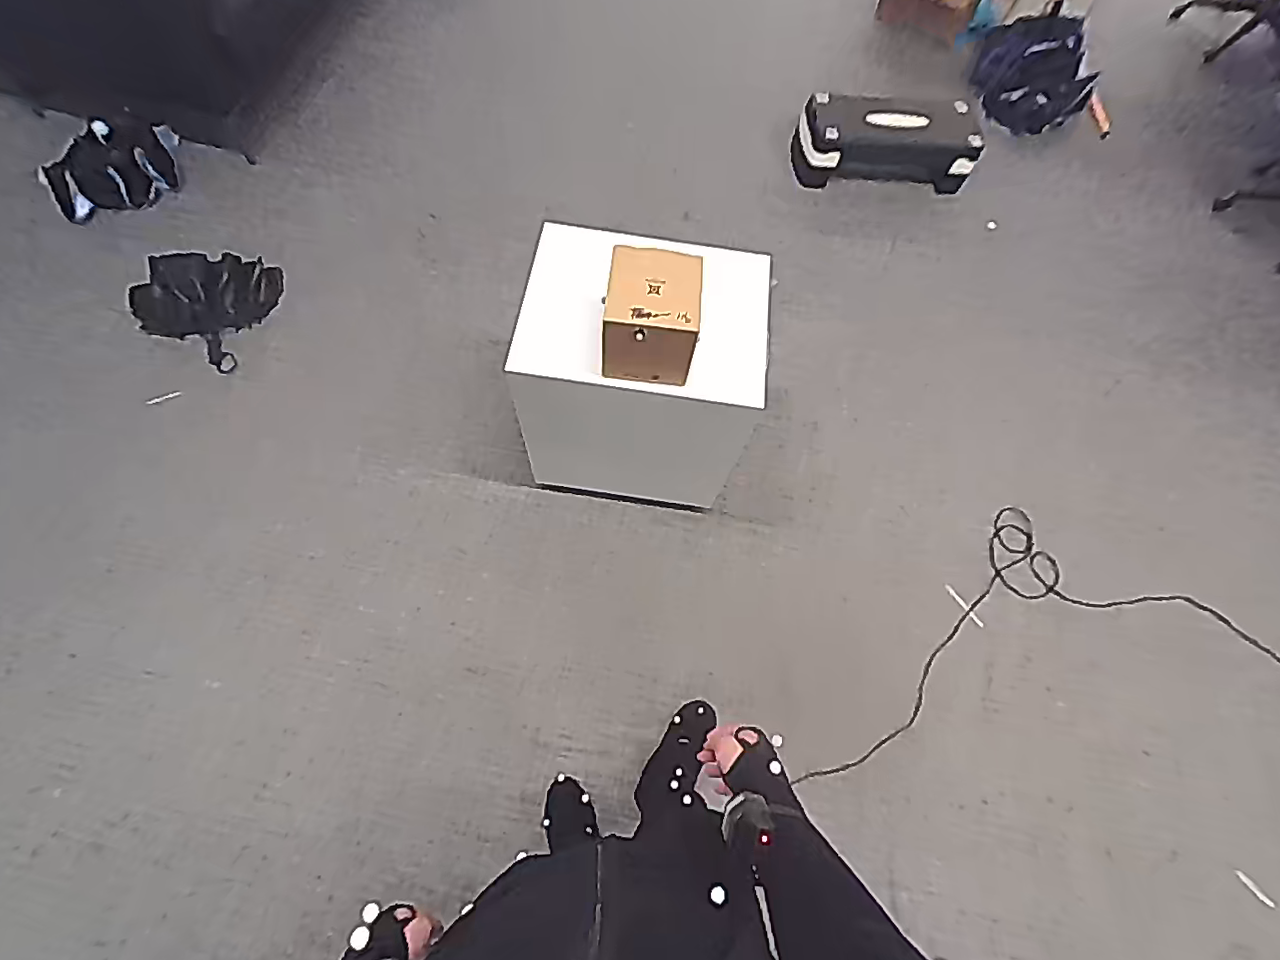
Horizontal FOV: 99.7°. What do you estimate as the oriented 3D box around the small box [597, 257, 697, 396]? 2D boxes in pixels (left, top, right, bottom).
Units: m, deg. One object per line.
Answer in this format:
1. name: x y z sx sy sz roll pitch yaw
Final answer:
1. small box: 0.009 -0.283 1.016 0.168 0.176 0.179 6 64 -2
